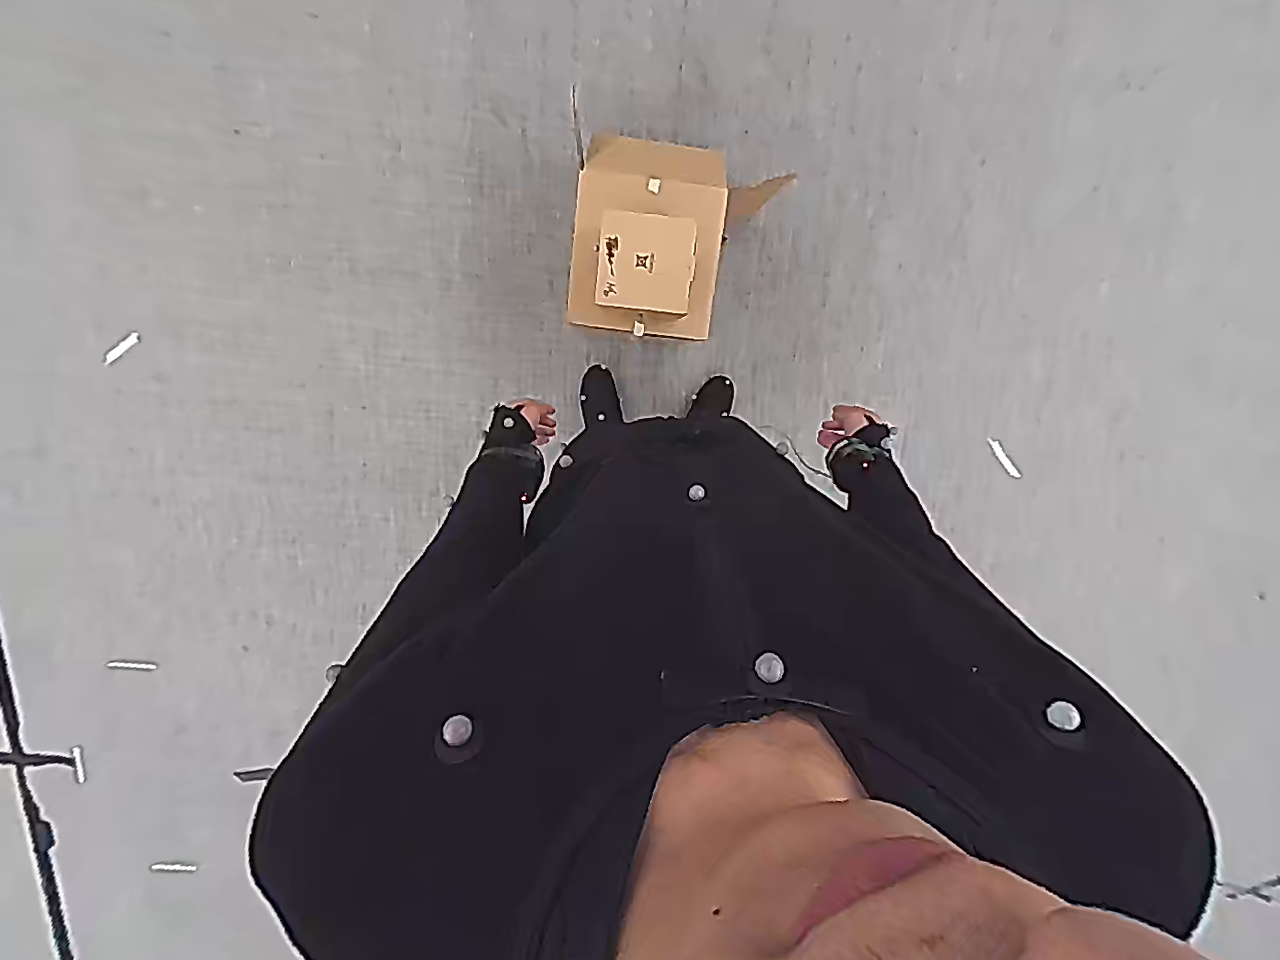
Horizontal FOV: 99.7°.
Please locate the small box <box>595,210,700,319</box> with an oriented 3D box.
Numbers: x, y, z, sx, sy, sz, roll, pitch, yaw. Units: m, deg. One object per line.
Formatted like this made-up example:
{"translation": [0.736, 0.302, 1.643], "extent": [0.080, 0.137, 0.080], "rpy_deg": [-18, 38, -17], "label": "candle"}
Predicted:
{"translation": [0.010, -0.410, 1.057], "extent": [0.179, 0.176, 0.168], "rpy_deg": [6, 104, -3], "label": "small box"}
